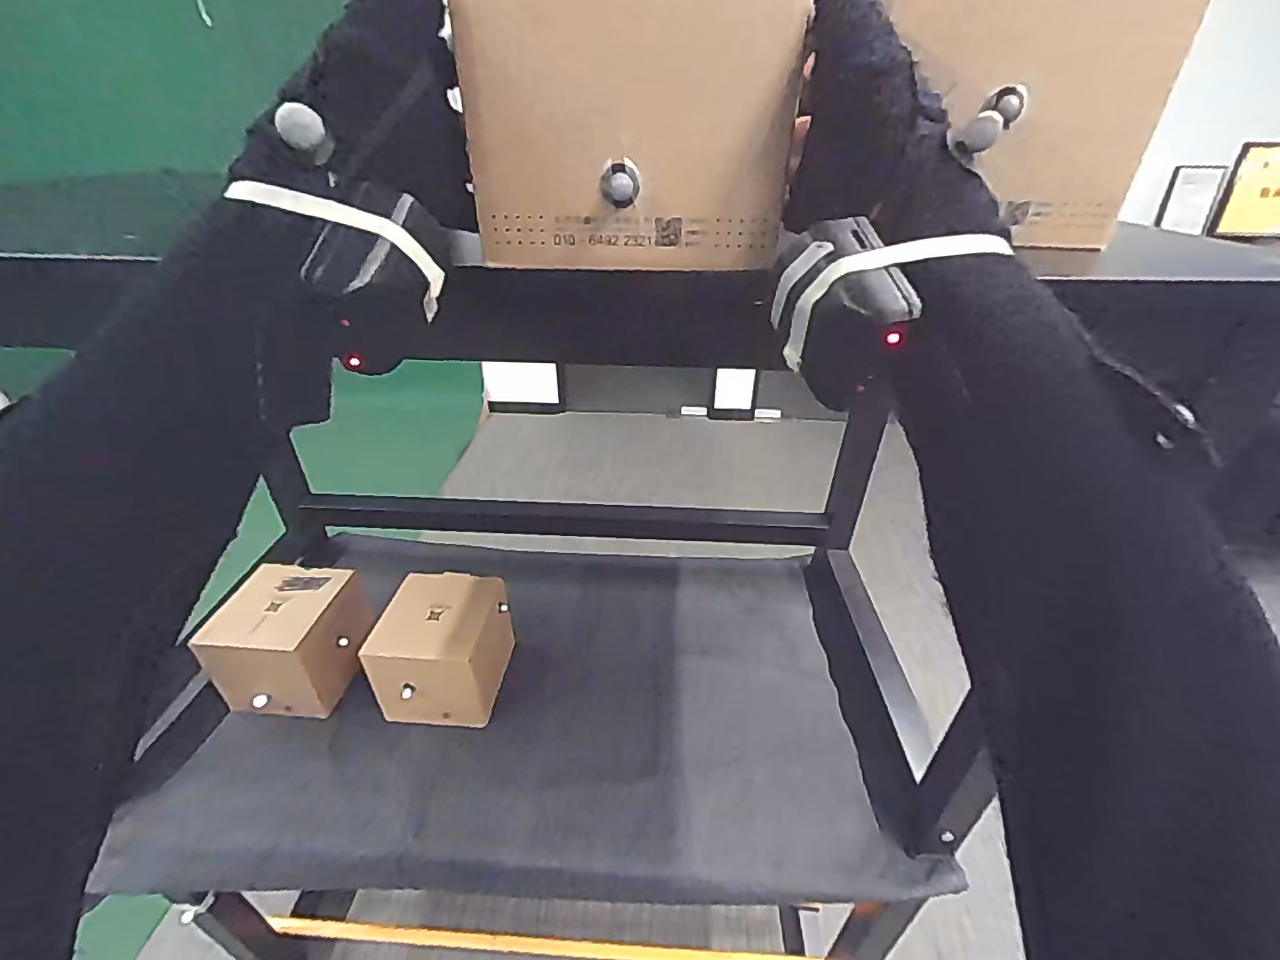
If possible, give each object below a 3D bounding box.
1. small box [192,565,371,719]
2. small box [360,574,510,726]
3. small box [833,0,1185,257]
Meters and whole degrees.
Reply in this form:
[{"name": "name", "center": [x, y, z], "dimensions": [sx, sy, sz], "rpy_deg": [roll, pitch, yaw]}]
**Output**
[{"name": "small box", "center": [-0.574, 0.266, 0.902], "dimensions": [0.168, 0.176, 0.179], "rpy_deg": [3, 33, 3]}, {"name": "small box", "center": [-0.322, 0.279, 0.892], "dimensions": [0.168, 0.176, 0.179], "rpy_deg": [3, 33, 3]}, {"name": "small box", "center": [0.248, -0.272, 0.408], "dimensions": [0.168, 0.176, 0.179], "rpy_deg": [8, 33, 12]}]
